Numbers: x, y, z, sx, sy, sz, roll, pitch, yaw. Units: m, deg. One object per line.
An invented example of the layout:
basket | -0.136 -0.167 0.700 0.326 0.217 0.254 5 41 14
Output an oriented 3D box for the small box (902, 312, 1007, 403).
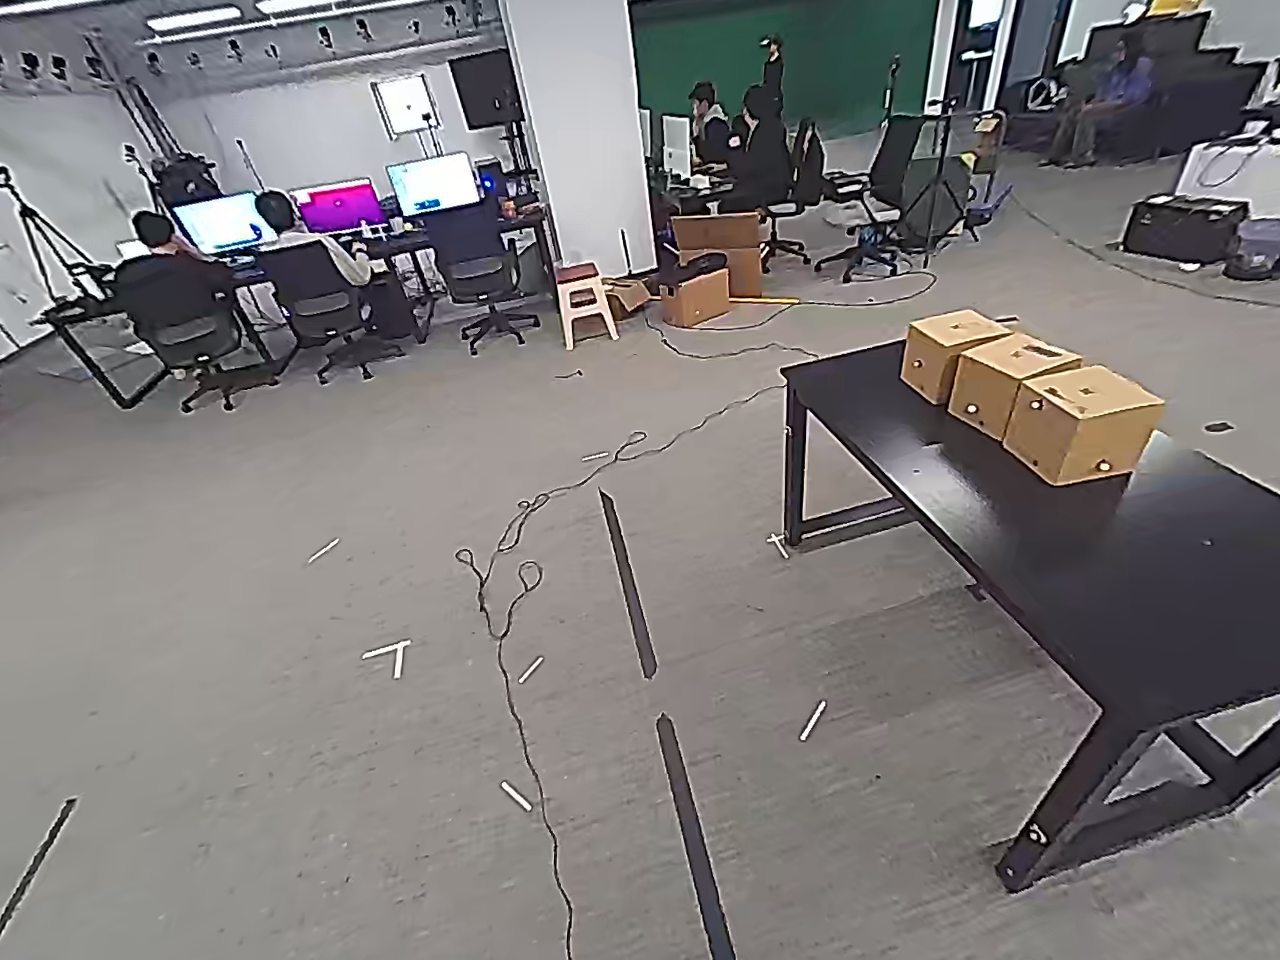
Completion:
small box | 0.819 -0.322 1.433 0.179 0.176 0.168 -13 37 -2
